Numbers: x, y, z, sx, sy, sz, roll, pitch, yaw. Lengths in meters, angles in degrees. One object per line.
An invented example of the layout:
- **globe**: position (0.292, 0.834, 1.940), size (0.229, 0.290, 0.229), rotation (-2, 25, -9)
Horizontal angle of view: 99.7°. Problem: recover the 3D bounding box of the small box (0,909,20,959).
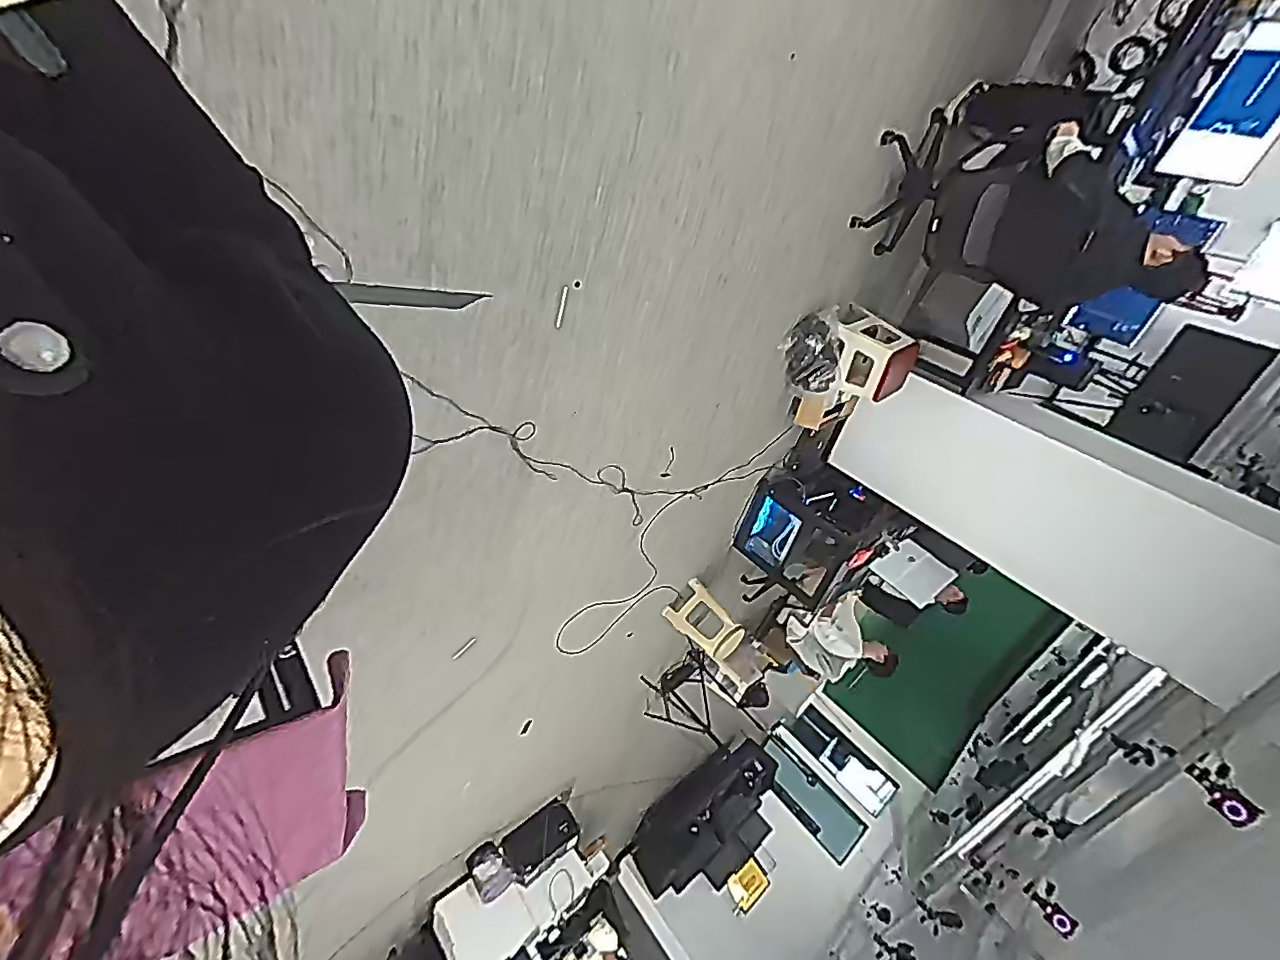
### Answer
- **small box**: position (-1.006, 0.757, 0.758), size (0.168, 0.176, 0.179), rotation (-12, 131, -46)
